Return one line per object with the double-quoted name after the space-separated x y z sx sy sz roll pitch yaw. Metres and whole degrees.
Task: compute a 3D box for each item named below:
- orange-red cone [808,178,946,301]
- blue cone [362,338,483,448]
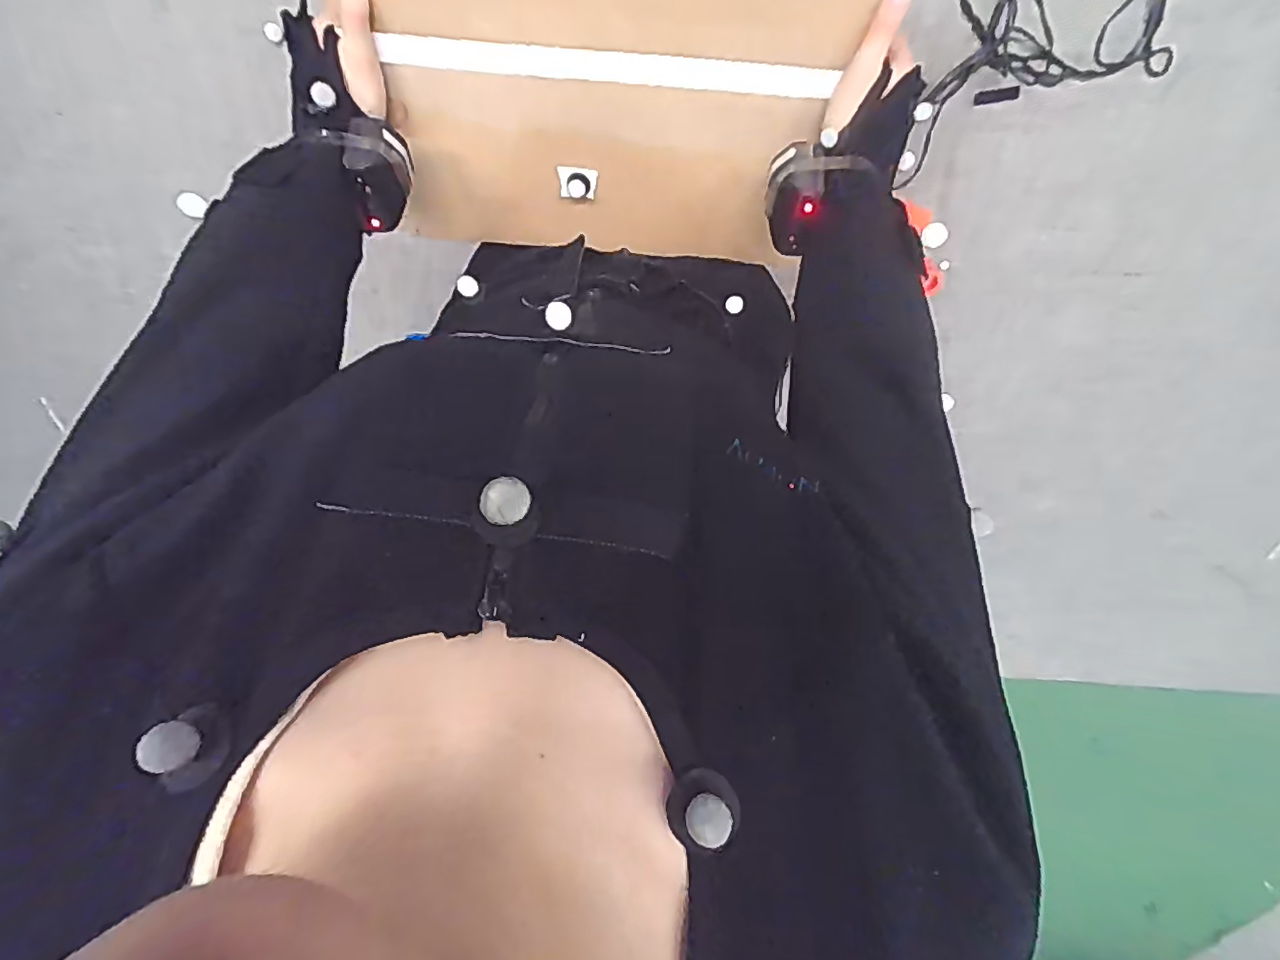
0.468 -0.400 0.982 0.199 0.360 0.198 19 123 -9 "orange-red cone"
-0.507 -0.176 1.222 0.192 0.380 0.193 4 122 3 "blue cone"
